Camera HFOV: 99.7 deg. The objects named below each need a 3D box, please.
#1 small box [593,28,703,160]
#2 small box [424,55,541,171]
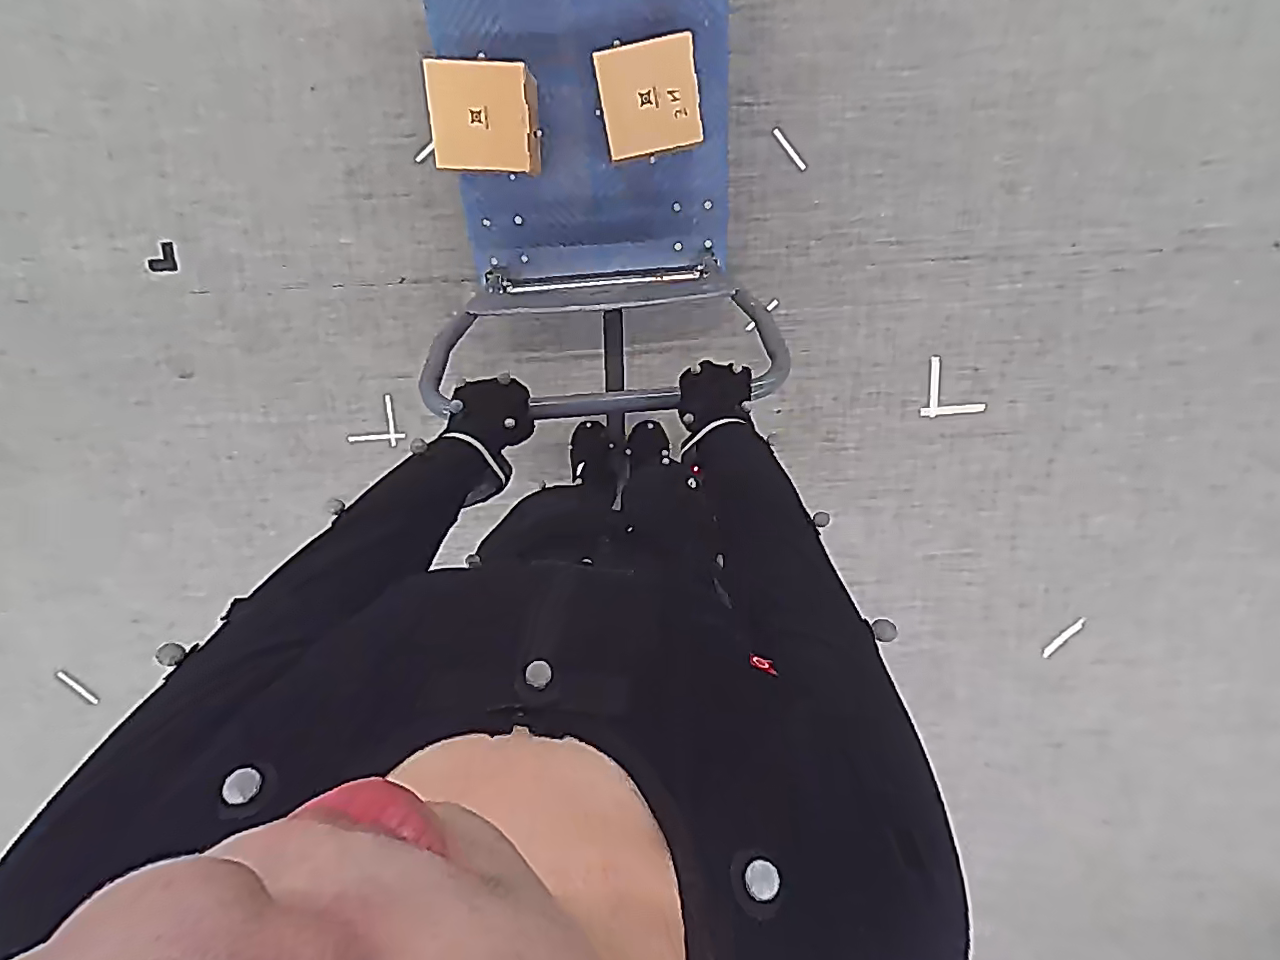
[{"bbox_3d":[0.016,-0.721,1.030,0.179,0.176,0.168,-10,118,3],"label":"small box"},{"bbox_3d":[-0.290,-0.691,1.035,0.179,0.176,0.168,-1,118,-4],"label":"small box"}]
